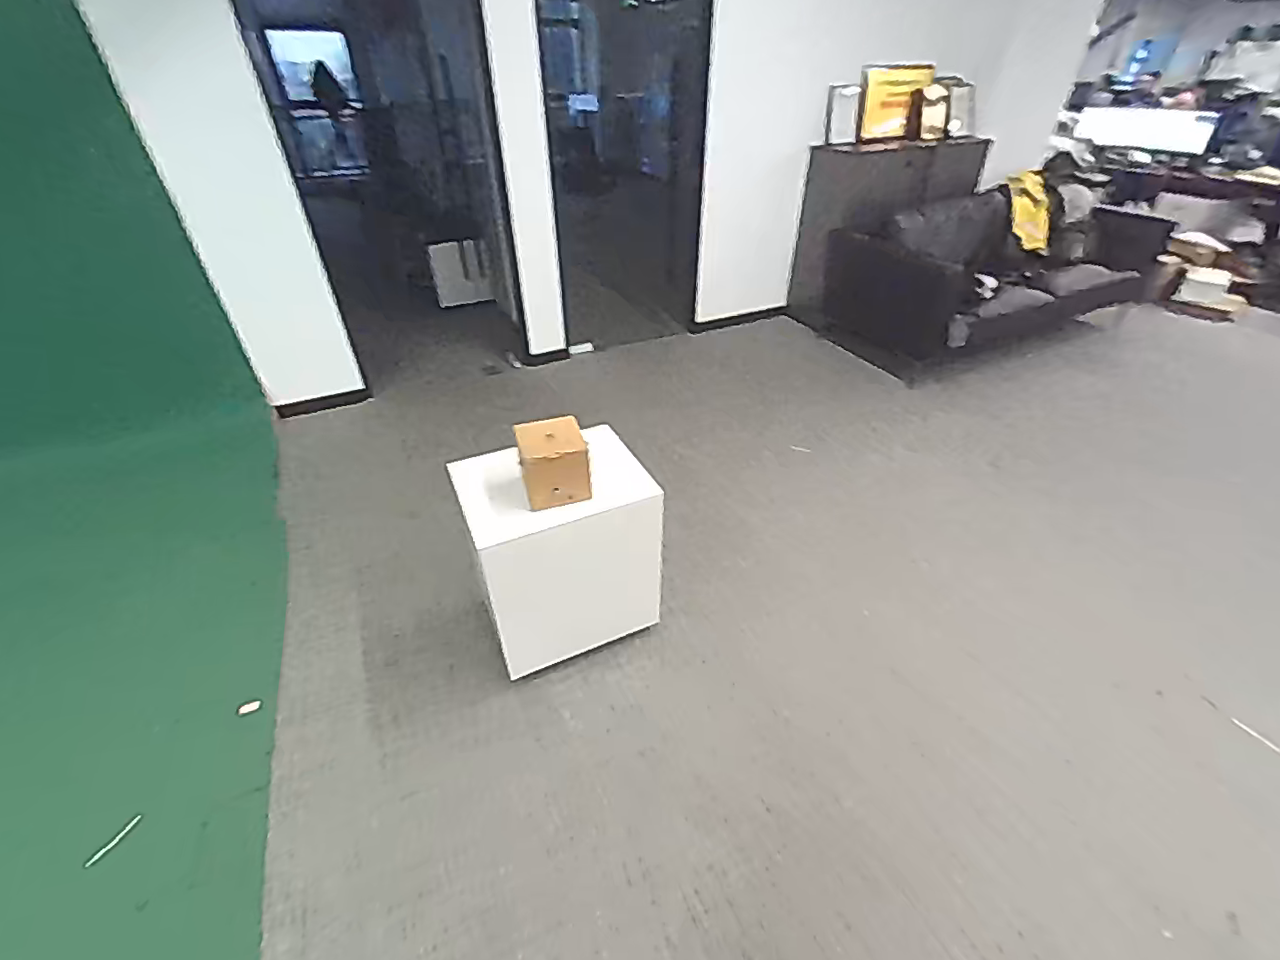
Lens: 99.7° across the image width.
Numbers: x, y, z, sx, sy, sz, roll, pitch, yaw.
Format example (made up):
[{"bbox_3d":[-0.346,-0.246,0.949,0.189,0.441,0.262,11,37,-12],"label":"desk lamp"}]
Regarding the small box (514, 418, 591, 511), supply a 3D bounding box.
[{"bbox_3d":[-0.234,-0.043,1.442,0.168,0.176,0.179,-13,39,-16],"label":"small box"}]
